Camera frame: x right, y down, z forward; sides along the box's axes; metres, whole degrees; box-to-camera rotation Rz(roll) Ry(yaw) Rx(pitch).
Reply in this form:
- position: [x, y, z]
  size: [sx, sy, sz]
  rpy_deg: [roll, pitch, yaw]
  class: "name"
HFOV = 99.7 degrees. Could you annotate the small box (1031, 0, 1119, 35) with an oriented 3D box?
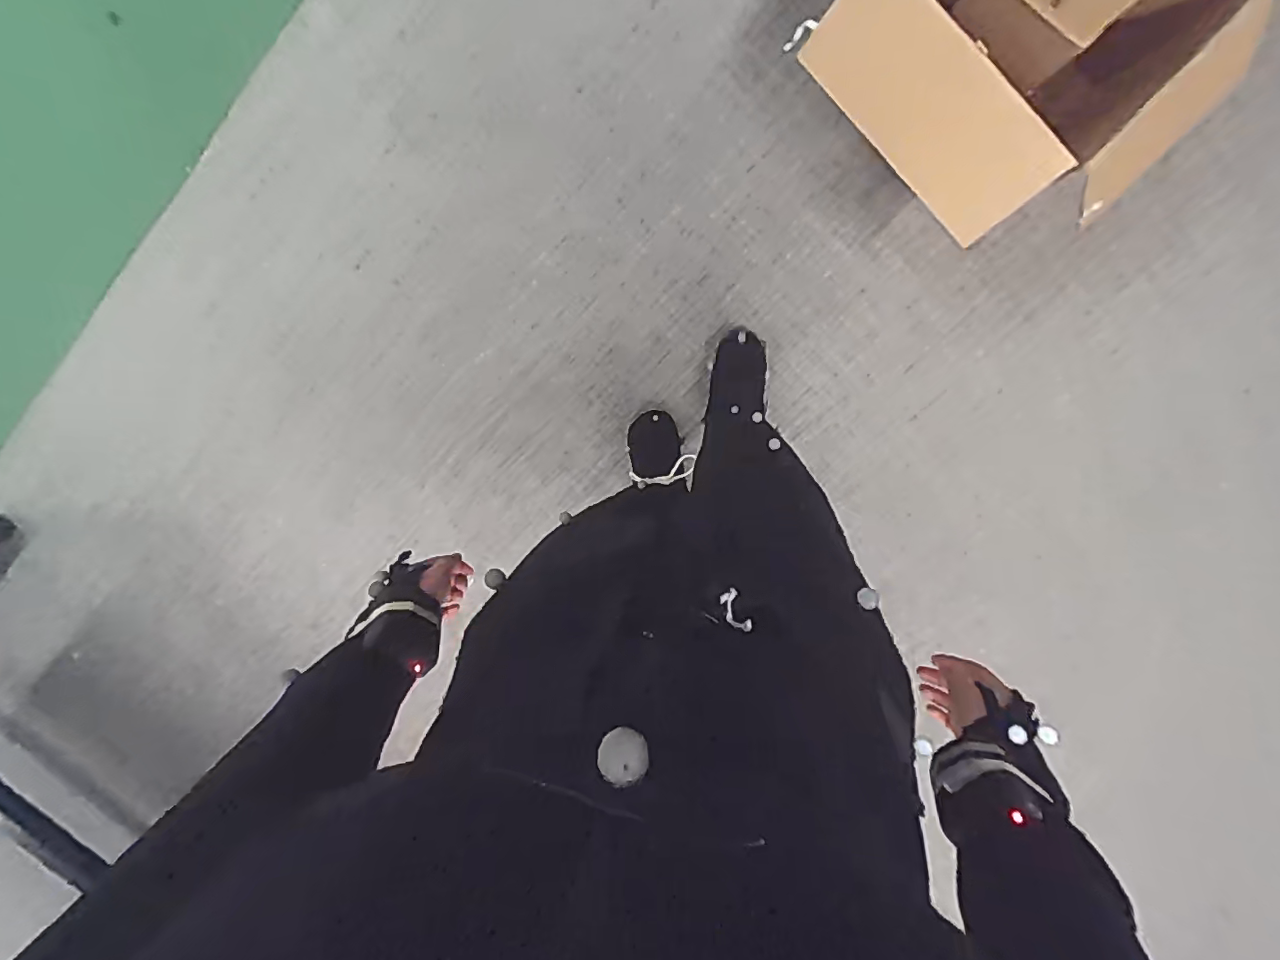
- position: [0.522, -0.648, 0.581]
  size: [0.168, 0.176, 0.179]
  rpy_deg: [37, 101, -3]
  class: "small box"
